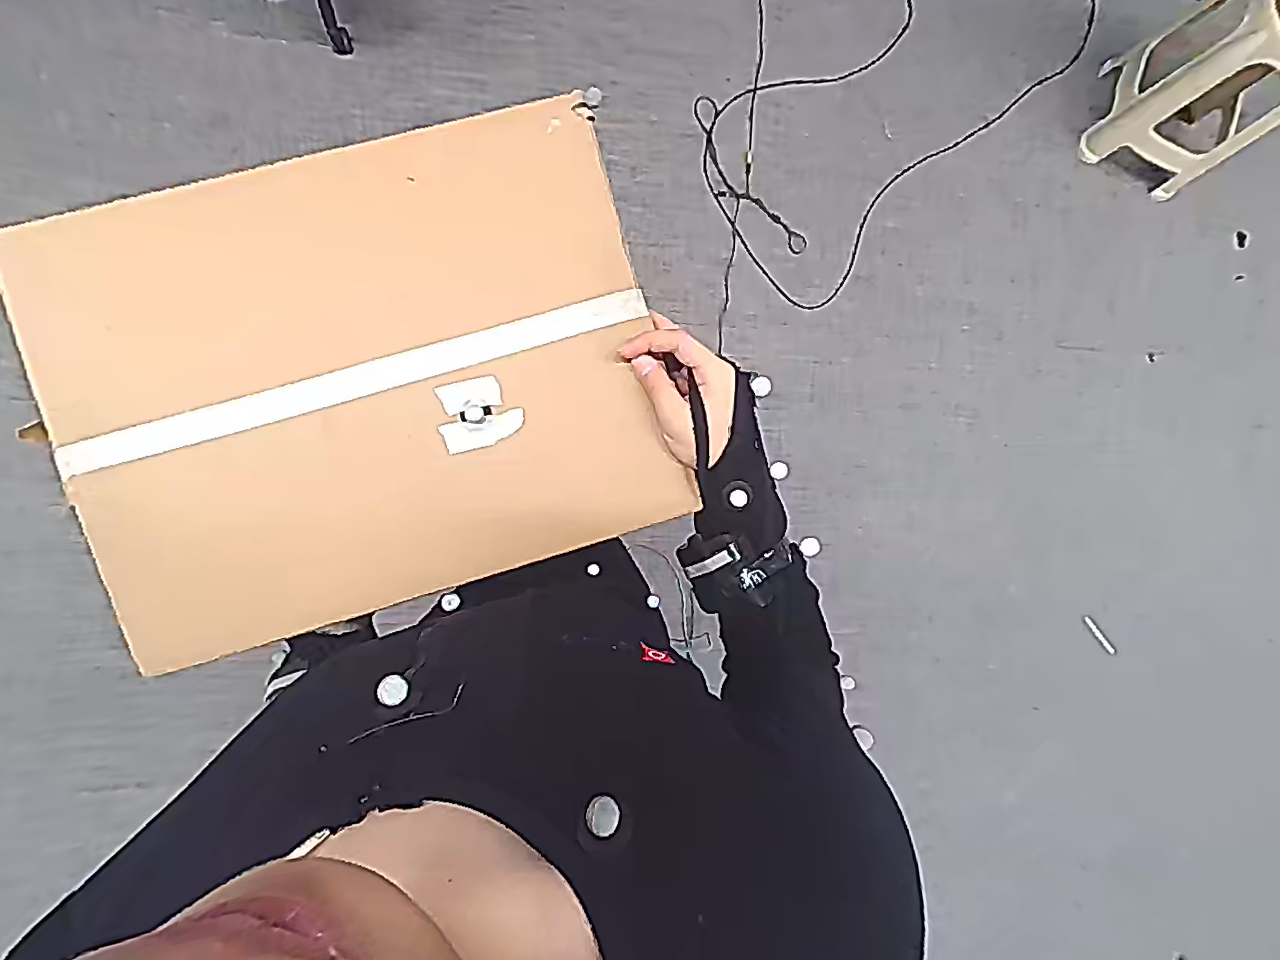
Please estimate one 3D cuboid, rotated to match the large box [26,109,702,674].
[{"bbox_3d":[-0.200,-0.070,0.535,0.408,0.320,0.320,-18,93,-5],"label":"large box"}]
